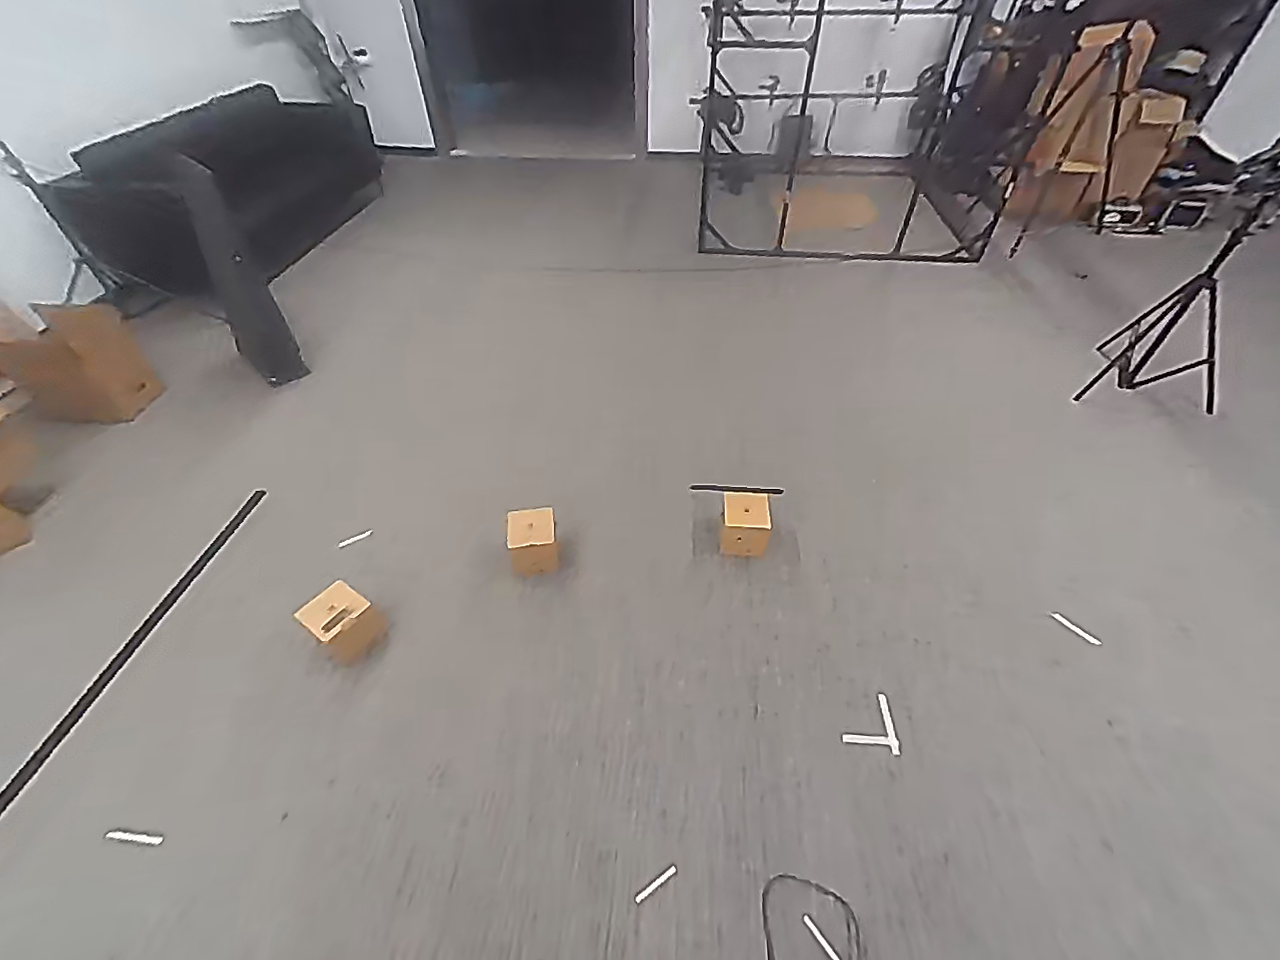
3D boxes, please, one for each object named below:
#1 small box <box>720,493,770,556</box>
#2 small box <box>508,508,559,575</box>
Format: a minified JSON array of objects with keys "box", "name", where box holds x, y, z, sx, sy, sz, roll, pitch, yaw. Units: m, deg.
[{"box":[0.392,0.170,2.047,0.168,0.176,0.179,2,44,4],"name":"small box"},{"box":[-0.390,0.228,1.995,0.168,0.176,0.179,-6,45,-6],"name":"small box"}]
